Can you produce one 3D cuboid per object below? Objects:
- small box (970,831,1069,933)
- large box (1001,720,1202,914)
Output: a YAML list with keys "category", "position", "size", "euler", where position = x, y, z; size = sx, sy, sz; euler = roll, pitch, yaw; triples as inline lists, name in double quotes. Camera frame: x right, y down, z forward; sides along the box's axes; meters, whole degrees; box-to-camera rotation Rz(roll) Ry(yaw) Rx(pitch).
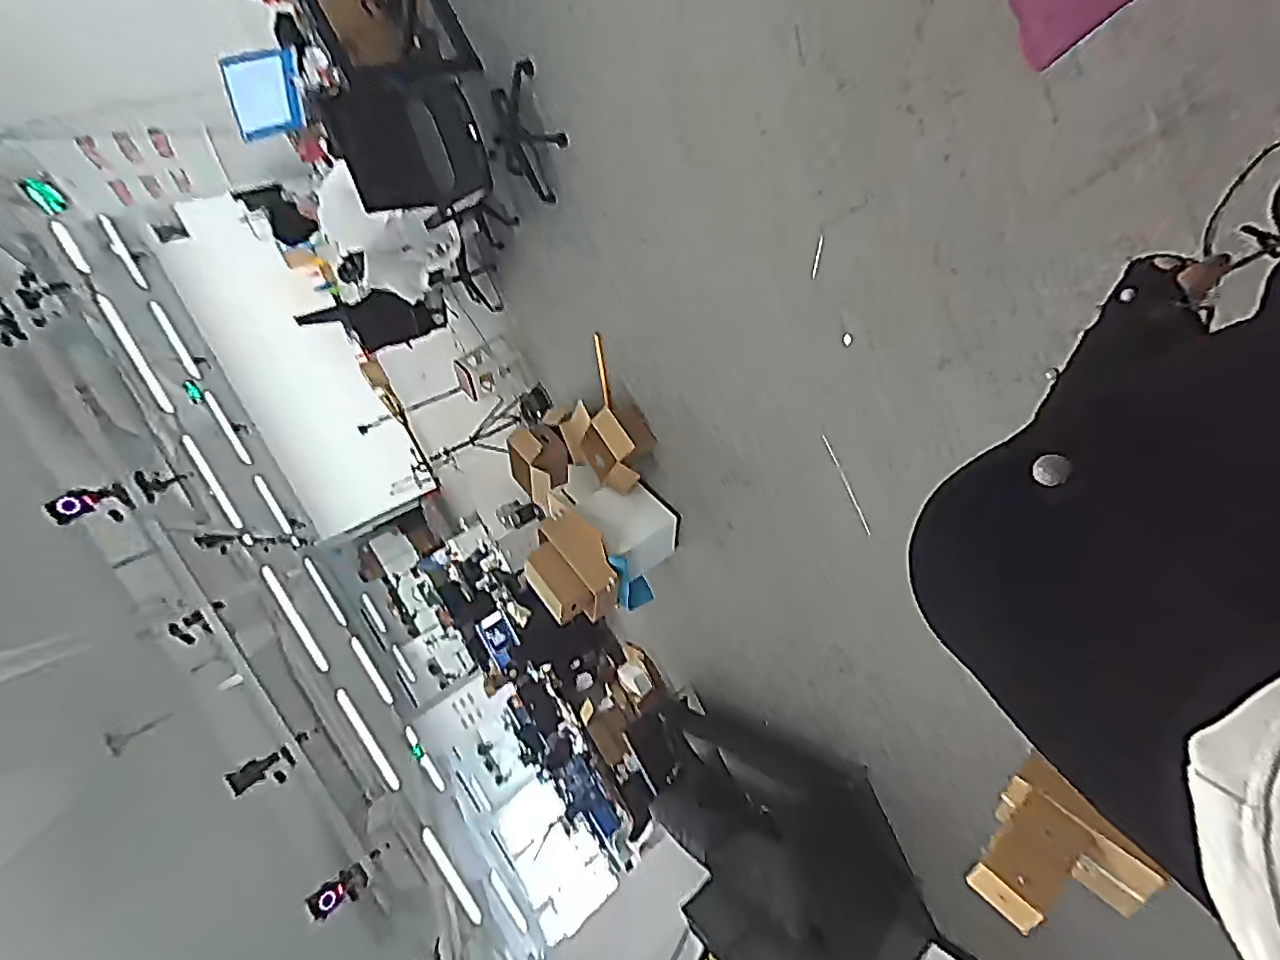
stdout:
- category: "small box"
  position: [1.170, 1.229, 1.670]
  size: [0.179, 0.176, 0.168]
  euler: [34, 143, 41]
- category: "large box"
  position: [1.538, 1.118, 1.834]
  size: [0.408, 0.320, 0.320]
  euler: [31, 143, 44]
